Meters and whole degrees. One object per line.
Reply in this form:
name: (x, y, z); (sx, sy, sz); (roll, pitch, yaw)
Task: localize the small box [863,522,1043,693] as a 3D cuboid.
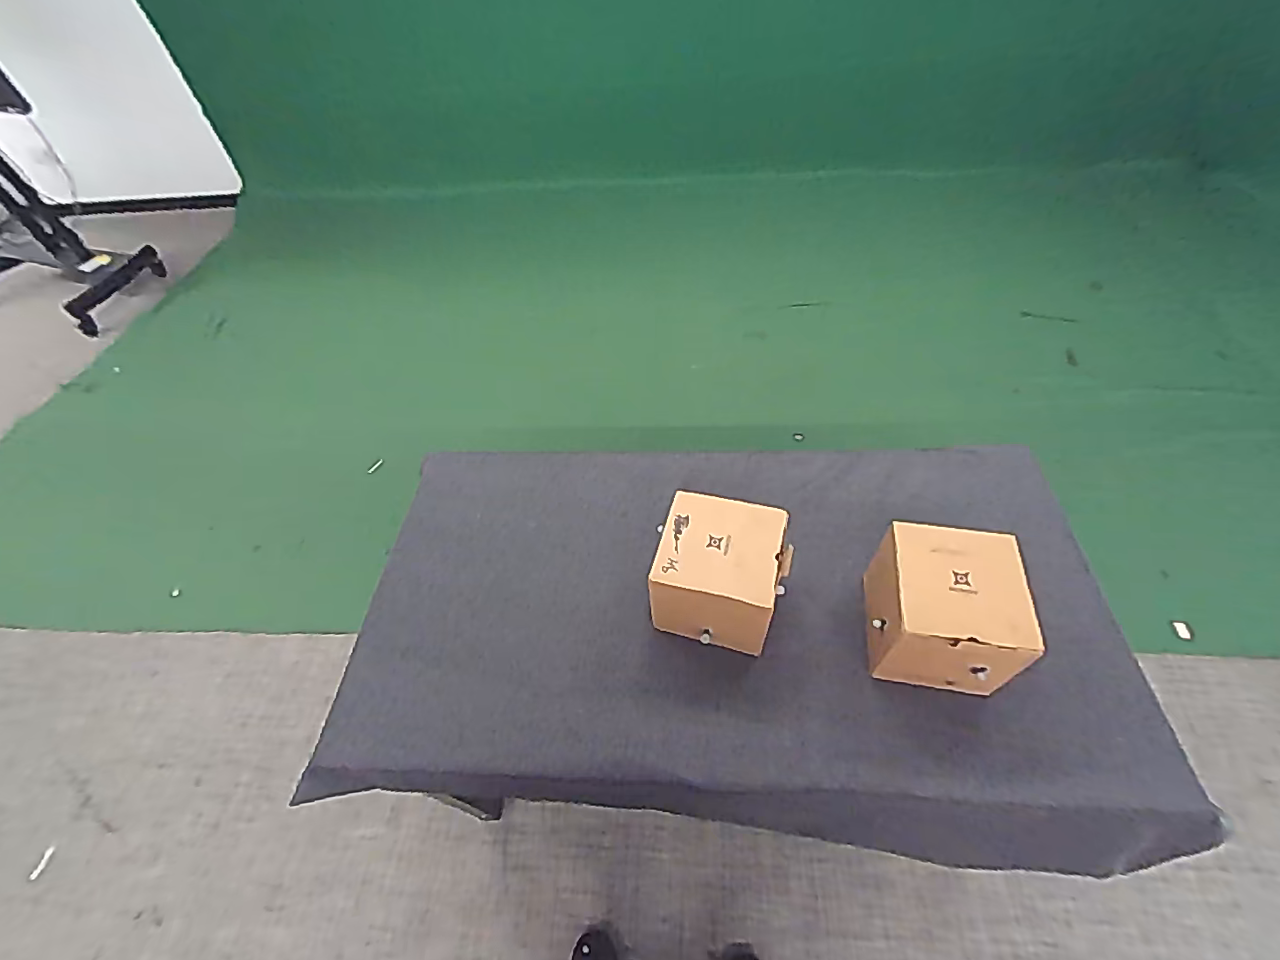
small box: (0.433, 0.187, 0.783); (0.168, 0.176, 0.179); (8, 51, 9)

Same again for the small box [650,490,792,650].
small box: (0.124, 0.145, 0.842); (0.179, 0.176, 0.168); (12, 52, 13)
